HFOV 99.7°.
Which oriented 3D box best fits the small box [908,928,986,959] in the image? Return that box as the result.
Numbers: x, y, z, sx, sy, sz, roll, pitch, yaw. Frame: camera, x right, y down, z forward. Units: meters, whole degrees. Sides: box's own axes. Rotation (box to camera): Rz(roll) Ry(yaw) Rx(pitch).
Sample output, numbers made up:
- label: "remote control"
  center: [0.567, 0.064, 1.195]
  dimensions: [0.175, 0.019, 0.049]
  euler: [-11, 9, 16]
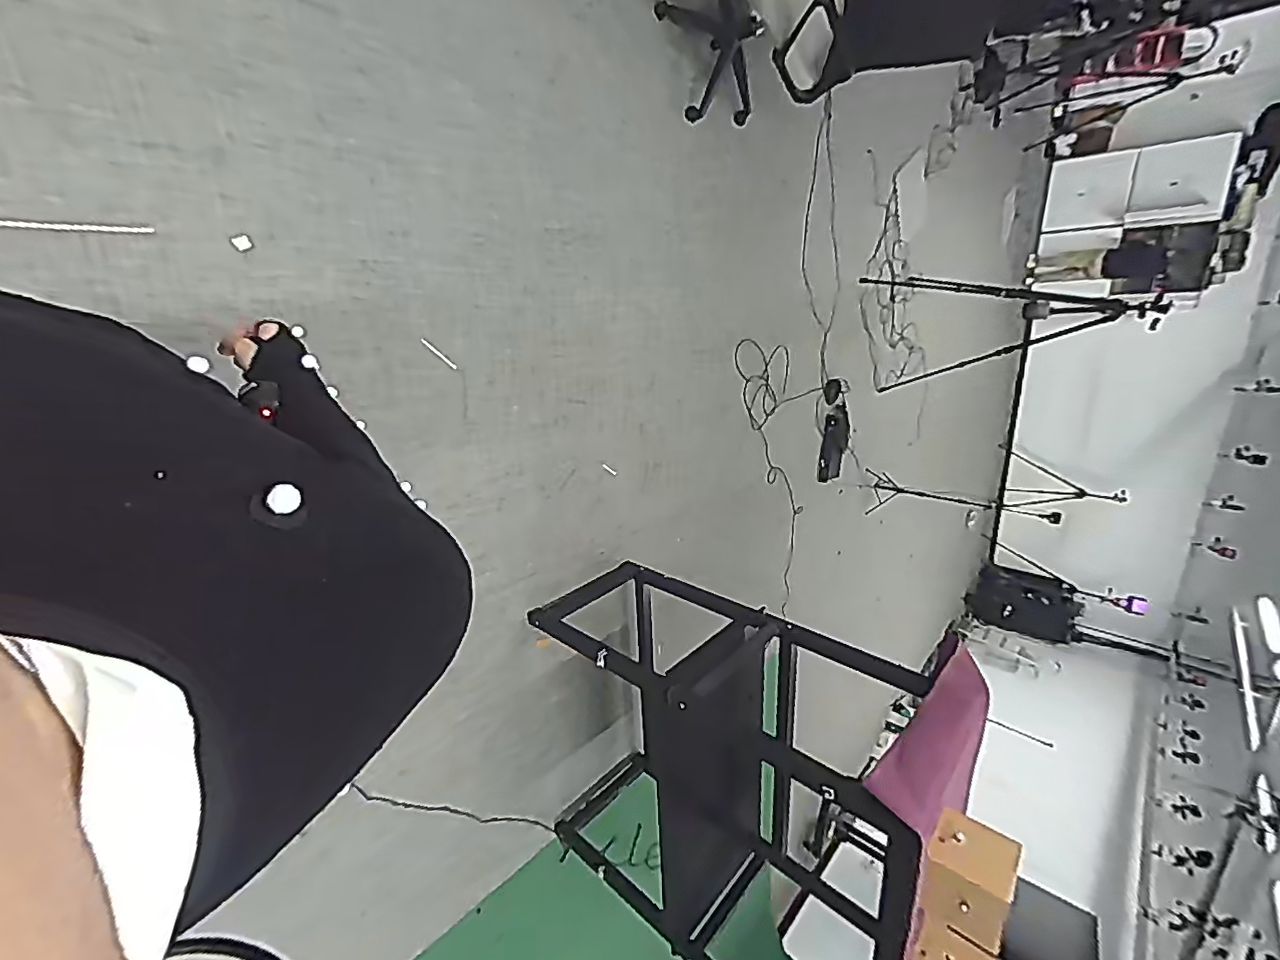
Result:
- label: "small box"
  center: [0.778, 1.306, 1.380]
  dimensions: [0.168, 0.176, 0.179]
  euler: [-18, 113, -43]

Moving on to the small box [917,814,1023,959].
- label: "small box"
  center: [0.762, 0.933, 1.258]
  dimensions: [0.168, 0.176, 0.179]
  euler: [-22, 115, -43]
